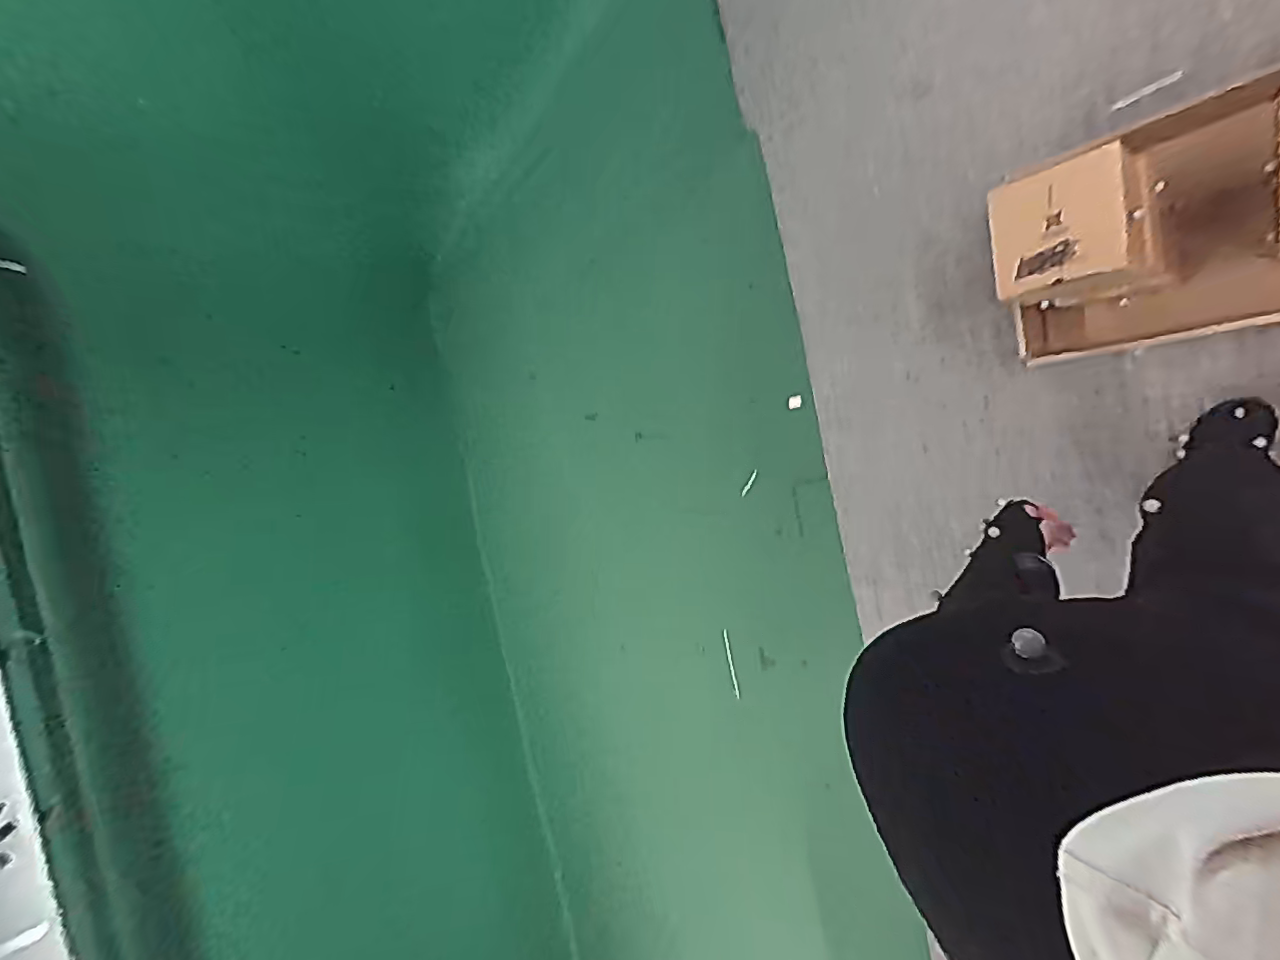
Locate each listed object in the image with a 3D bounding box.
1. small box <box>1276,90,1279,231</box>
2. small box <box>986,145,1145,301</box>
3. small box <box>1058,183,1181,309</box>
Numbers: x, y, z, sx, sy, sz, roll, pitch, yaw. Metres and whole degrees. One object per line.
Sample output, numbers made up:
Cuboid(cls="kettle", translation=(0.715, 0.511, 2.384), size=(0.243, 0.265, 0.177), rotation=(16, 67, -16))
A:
Cuboid(cls="small box", translation=(0.883, -0.399, 0.641), size=(0.168, 0.176, 0.179), rotation=(0, 101, 52))
Cuboid(cls="small box", translation=(0.691, -0.398, 0.877), size=(0.168, 0.176, 0.179), rotation=(-4, 95, 51))
Cuboid(cls="small box", translation=(0.947, -0.451, 1.074), size=(0.168, 0.176, 0.179), rotation=(-4, 96, 51))
